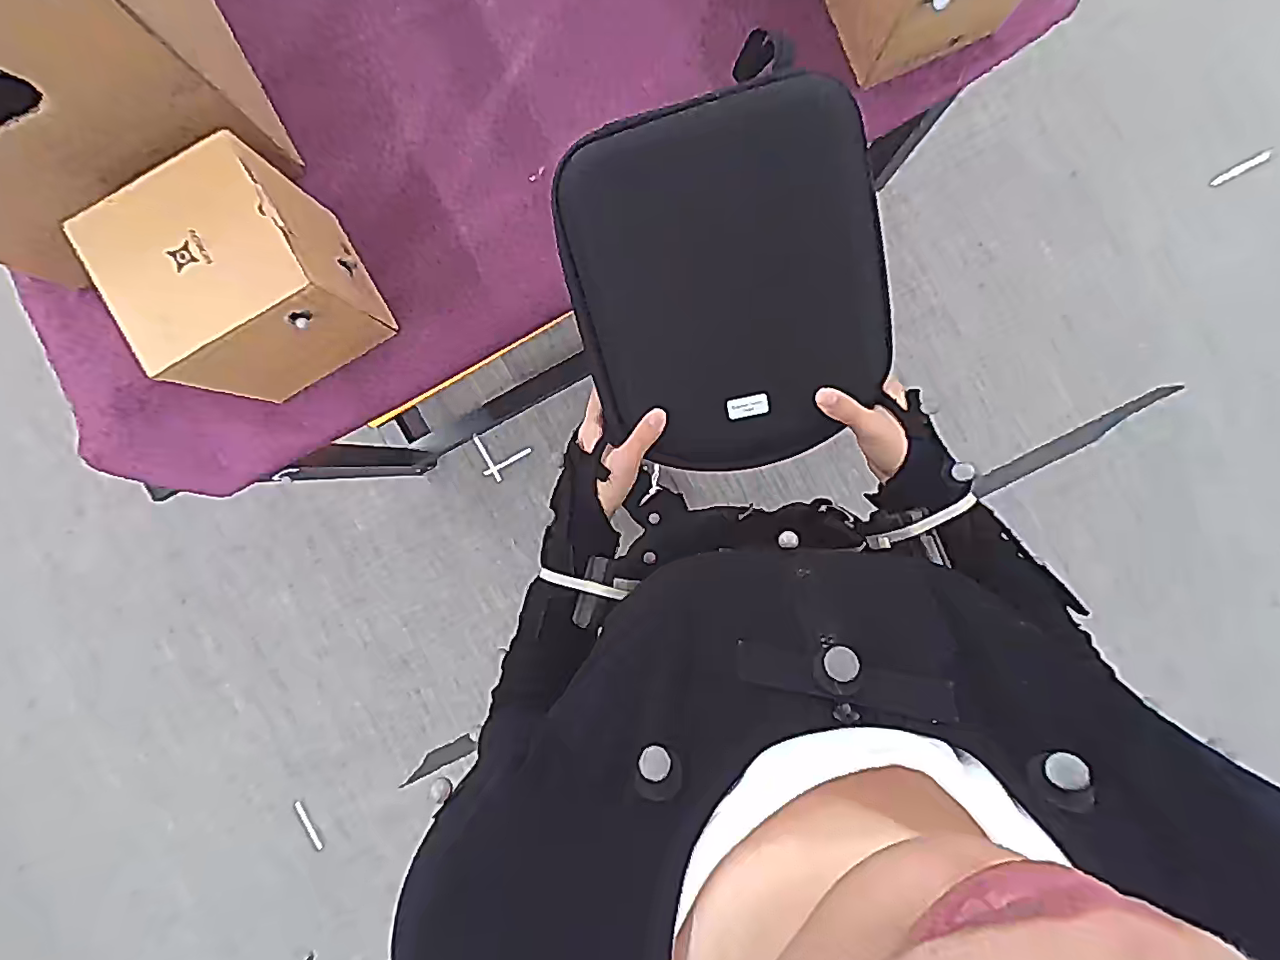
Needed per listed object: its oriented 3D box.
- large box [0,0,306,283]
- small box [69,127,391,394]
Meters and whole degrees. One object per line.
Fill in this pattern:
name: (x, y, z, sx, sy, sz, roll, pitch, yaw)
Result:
large box: (-0.622, -0.473, 0.497, 0.320, 0.320, 0.408, -29, 93, 1)
small box: (-0.407, -0.208, 0.571, 0.179, 0.176, 0.168, -31, 89, 1)
